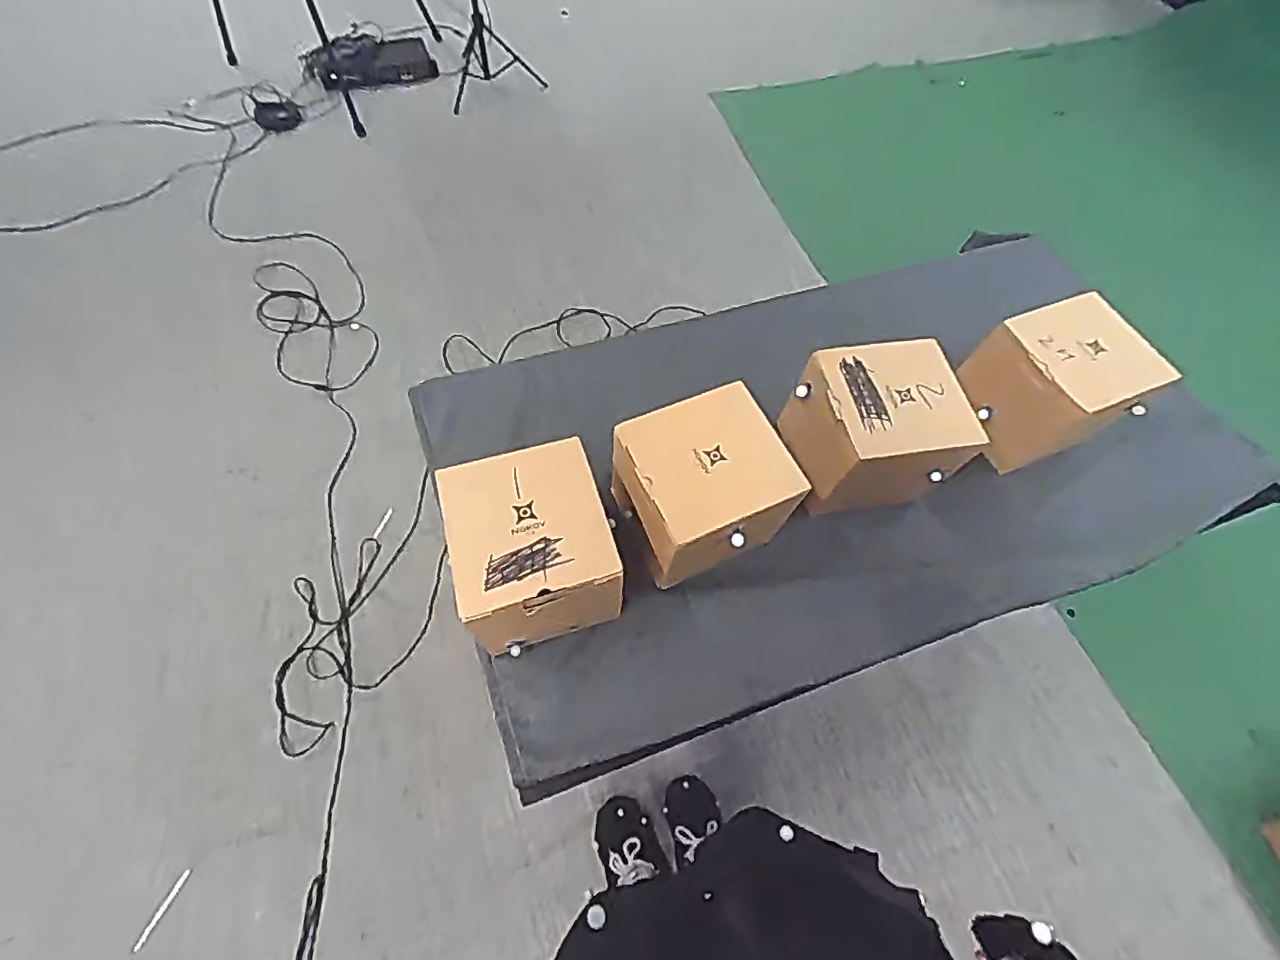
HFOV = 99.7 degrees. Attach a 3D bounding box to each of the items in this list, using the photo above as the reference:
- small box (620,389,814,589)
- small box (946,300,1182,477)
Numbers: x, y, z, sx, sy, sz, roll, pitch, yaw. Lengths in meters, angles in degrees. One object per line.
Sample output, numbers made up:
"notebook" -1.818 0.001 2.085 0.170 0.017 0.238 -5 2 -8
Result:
"small box" 0.083 0.018 0.693 0.179 0.176 0.168 -22 66 -13
"small box" 0.604 -0.130 0.798 0.179 0.176 0.168 -19 65 -12
